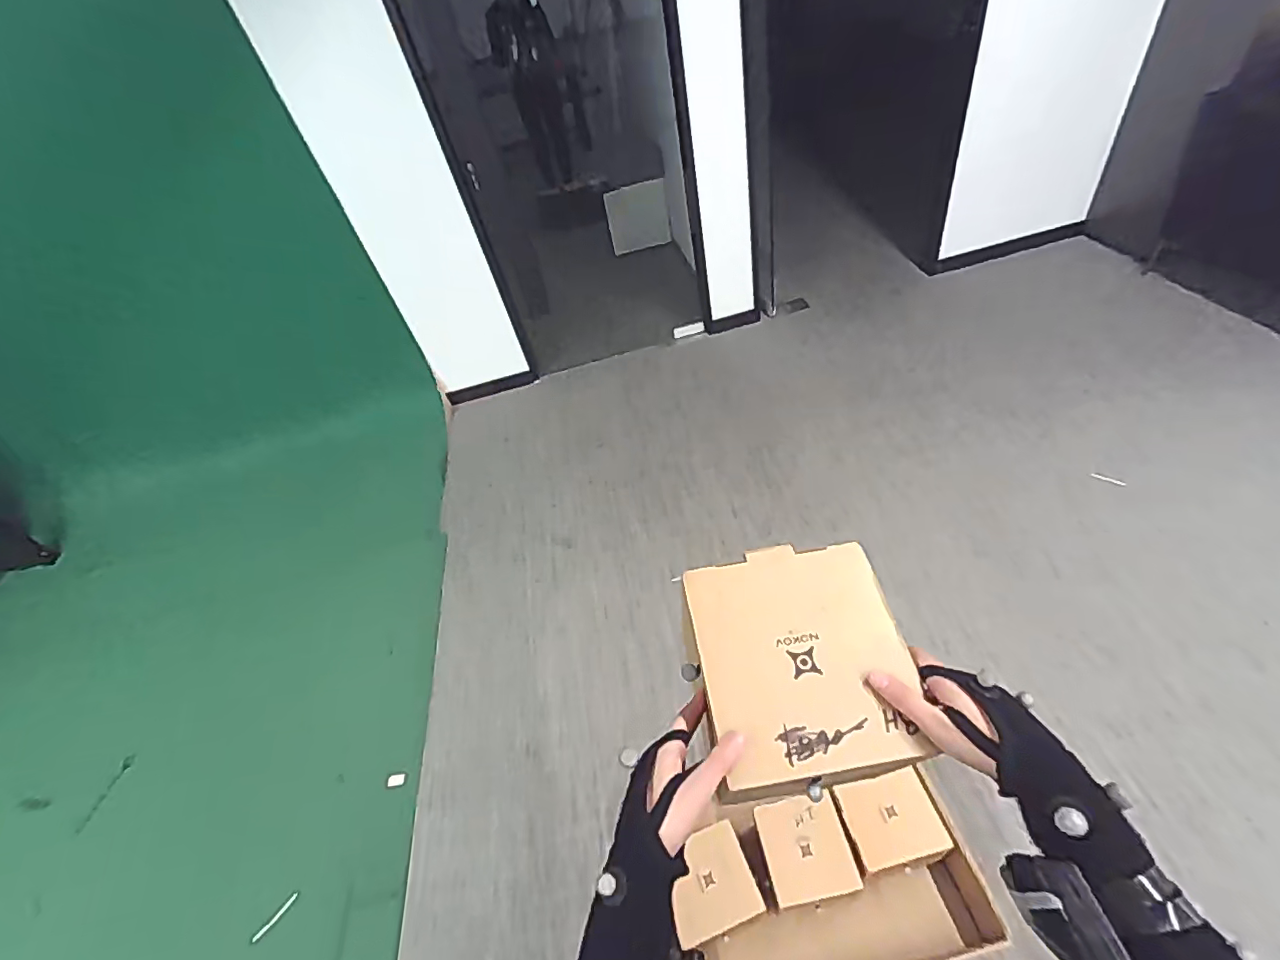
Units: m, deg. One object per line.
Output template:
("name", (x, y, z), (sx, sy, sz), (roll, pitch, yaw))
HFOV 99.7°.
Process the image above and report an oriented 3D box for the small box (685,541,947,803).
("small box", (0.136, 0.182, 0.502), (0.168, 0.176, 0.179), (-9, 55, -1))
